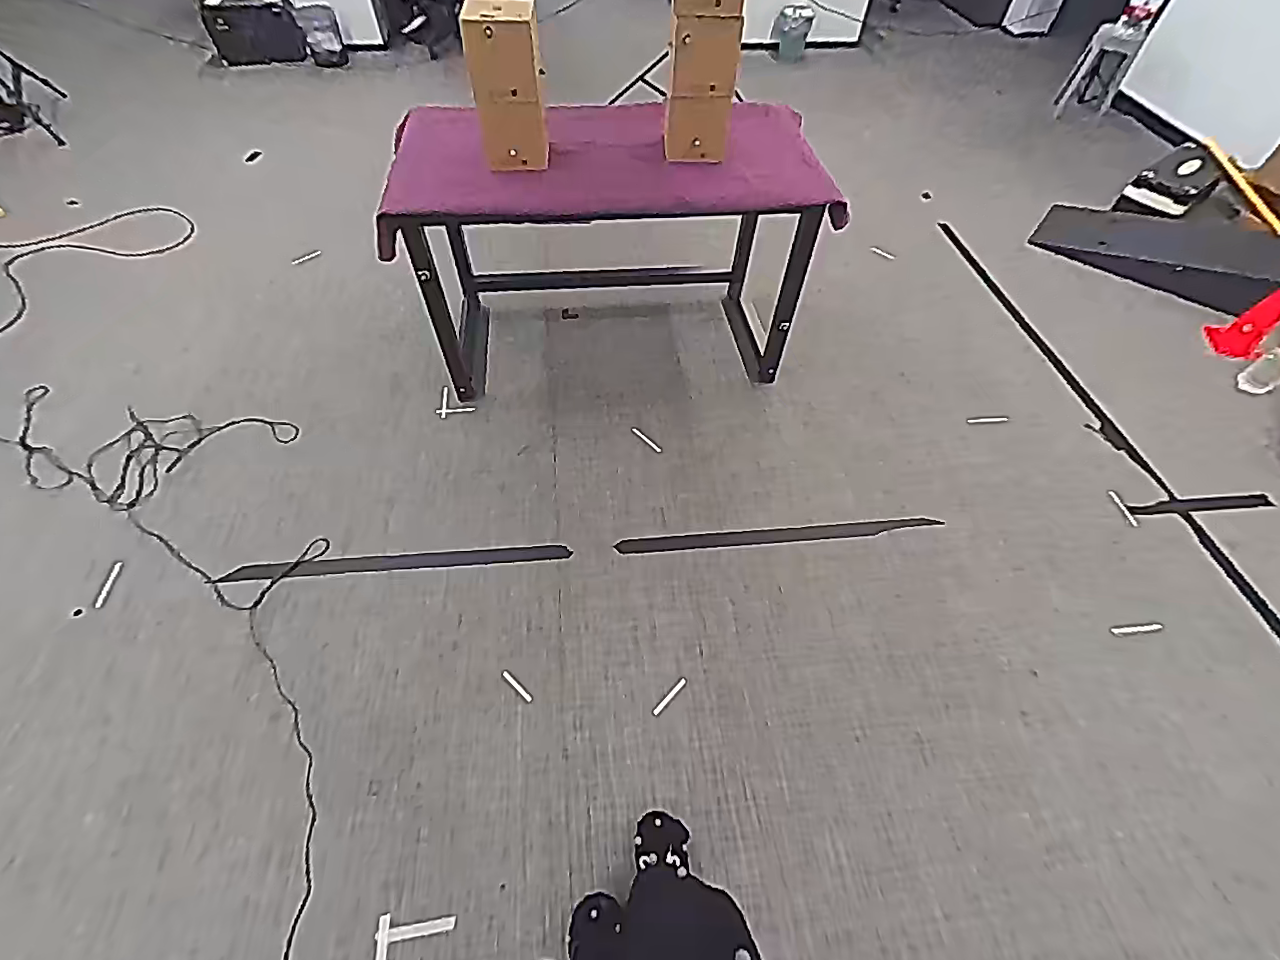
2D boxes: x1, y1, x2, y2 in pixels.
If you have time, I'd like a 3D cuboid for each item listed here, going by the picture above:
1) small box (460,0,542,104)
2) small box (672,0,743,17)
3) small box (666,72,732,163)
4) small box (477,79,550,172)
[{"bbox_3d":[-0.338,-1.068,1.349,0.168,0.176,0.179,-2,54,-3],"label":"small box"},{"bbox_3d":[0.164,-1.217,1.269,0.168,0.176,0.179,2,53,-1],"label":"small box"},{"bbox_3d":[0.161,-1.031,1.538,0.168,0.176,0.179,0,54,-1],"label":"small box"},{"bbox_3d":[-0.340,-0.973,1.483,0.168,0.176,0.179,-3,55,-4],"label":"small box"}]
